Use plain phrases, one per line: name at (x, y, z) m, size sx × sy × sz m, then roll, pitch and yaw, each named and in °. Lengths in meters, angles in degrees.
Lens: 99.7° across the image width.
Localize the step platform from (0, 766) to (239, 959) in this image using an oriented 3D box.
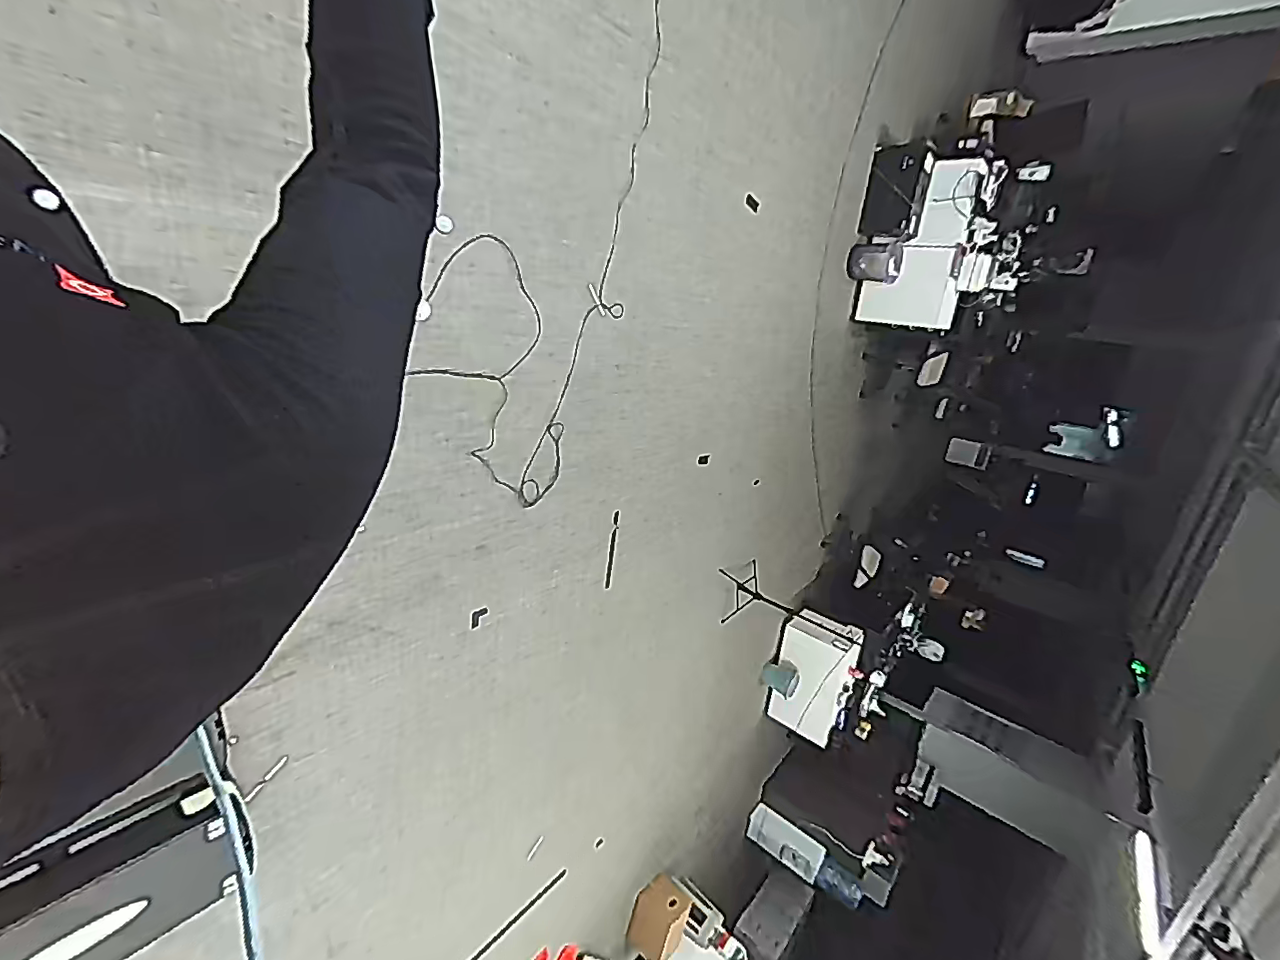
step platform at (-1.304, 0.964, 1.185) m, size 0.684 × 0.204 × 0.286 m, roll -18°, pitch 120°, yaw -46°
